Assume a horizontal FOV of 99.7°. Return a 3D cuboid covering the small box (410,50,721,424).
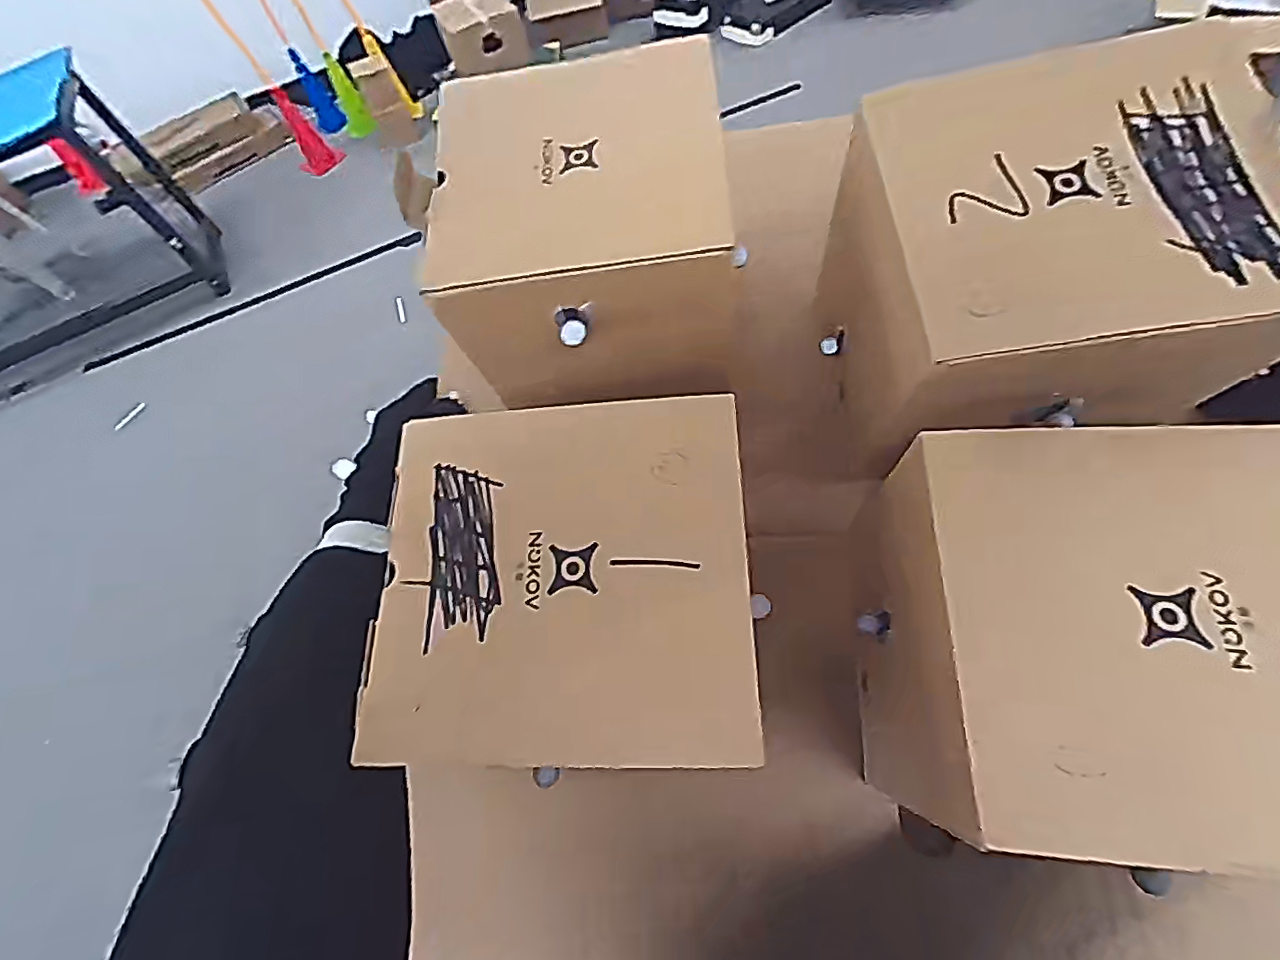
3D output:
[{"bbox_3d":[-0.036,-0.155,0.394,0.179,0.176,0.168,-6,69,8],"label":"small box"}]
